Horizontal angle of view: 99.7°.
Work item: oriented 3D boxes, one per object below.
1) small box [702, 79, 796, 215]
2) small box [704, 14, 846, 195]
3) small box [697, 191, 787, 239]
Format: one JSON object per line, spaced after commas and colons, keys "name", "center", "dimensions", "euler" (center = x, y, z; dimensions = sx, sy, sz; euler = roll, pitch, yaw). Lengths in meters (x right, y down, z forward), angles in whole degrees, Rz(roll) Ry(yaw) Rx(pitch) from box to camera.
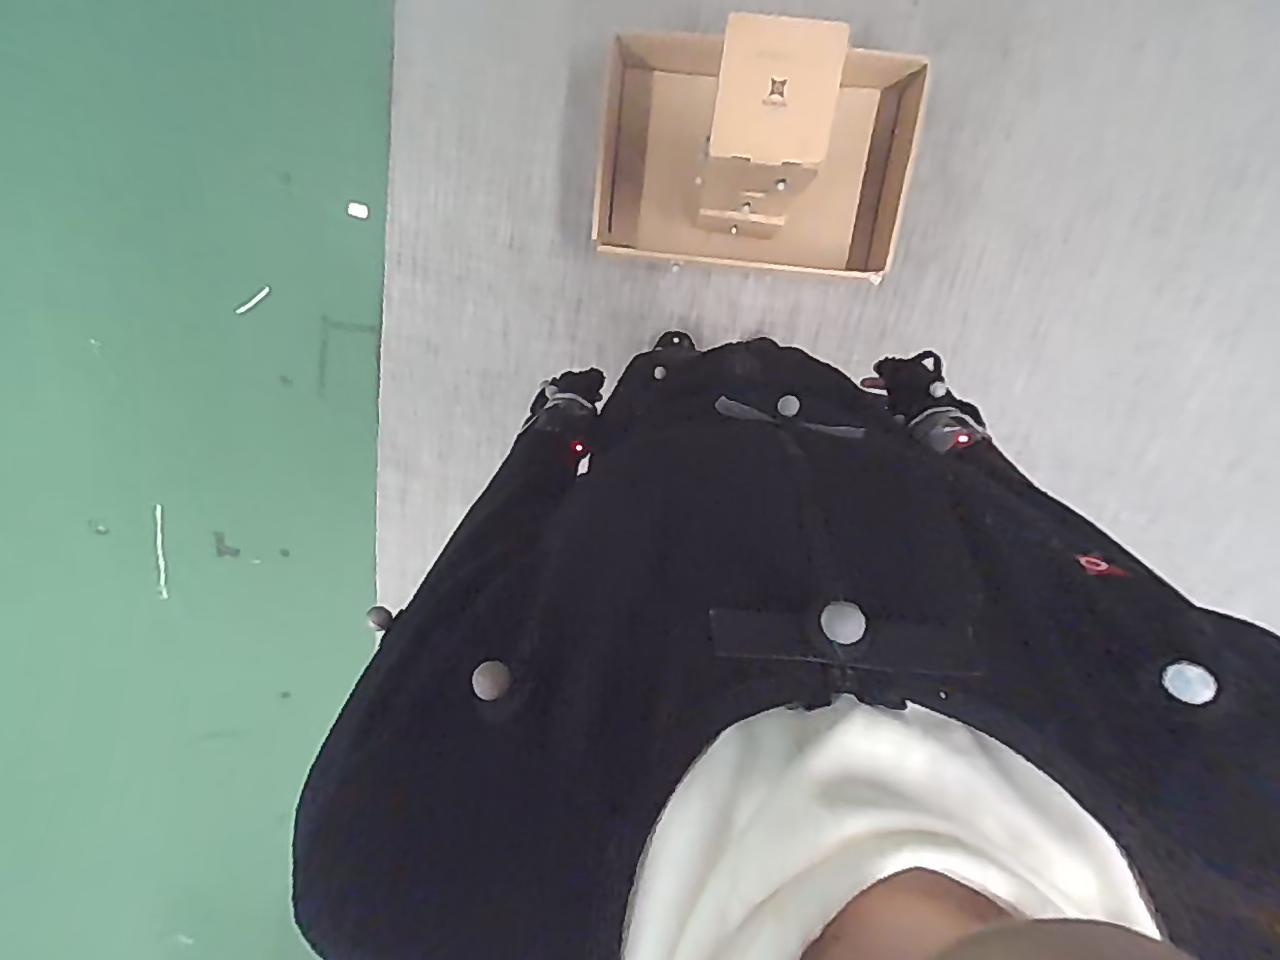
{"name": "small box", "center": [0.206, -0.602, 0.998], "dimensions": [0.168, 0.176, 0.179], "euler": [6, 105, 4]}
{"name": "small box", "center": [0.191, -0.554, 0.823], "dimensions": [0.168, 0.176, 0.179], "euler": [8, 104, 2]}
{"name": "small box", "center": [0.223, -0.626, 1.156], "dimensions": [0.179, 0.176, 0.168], "euler": [11, 104, 3]}
